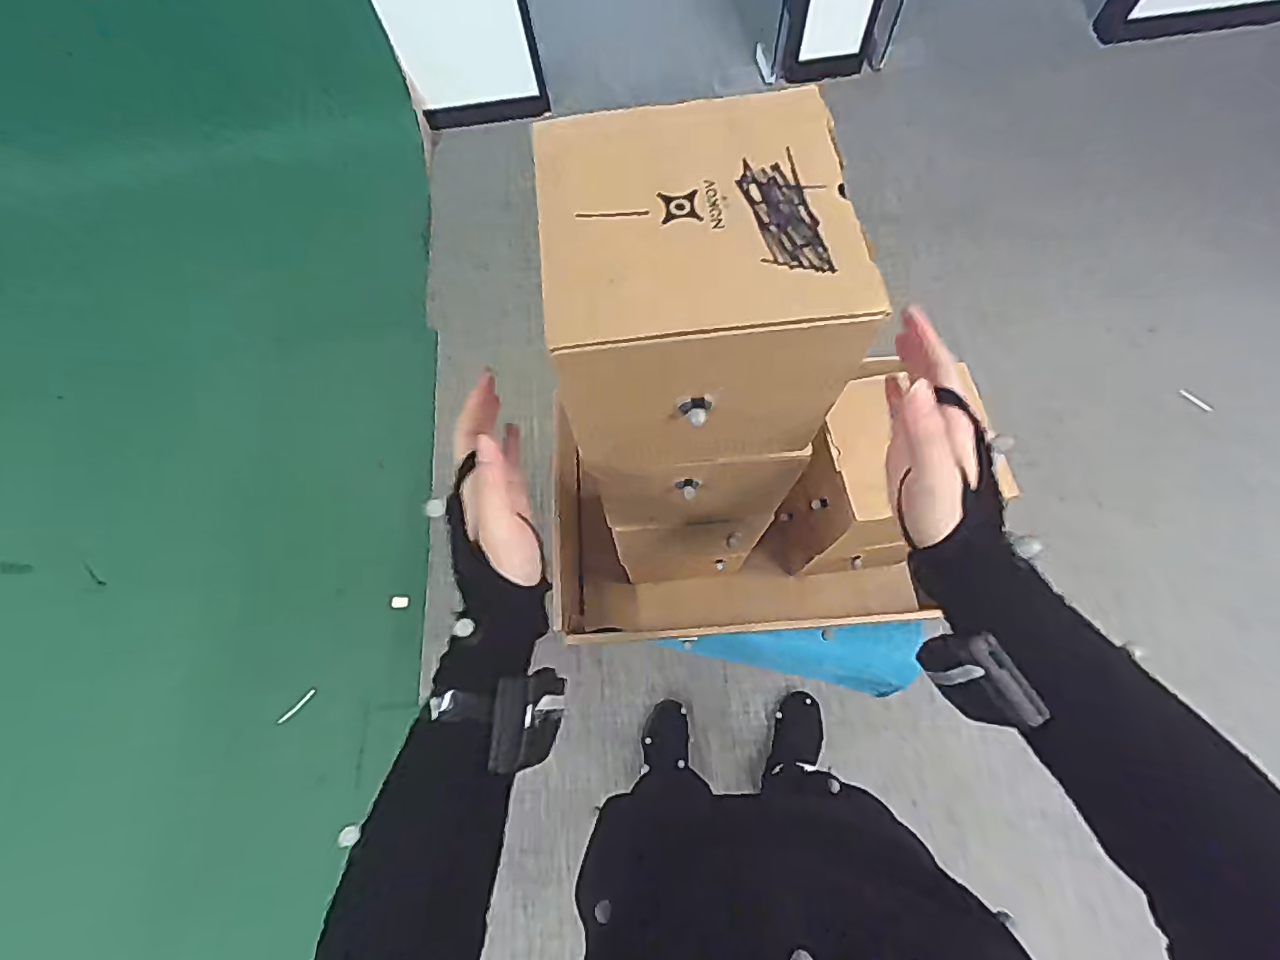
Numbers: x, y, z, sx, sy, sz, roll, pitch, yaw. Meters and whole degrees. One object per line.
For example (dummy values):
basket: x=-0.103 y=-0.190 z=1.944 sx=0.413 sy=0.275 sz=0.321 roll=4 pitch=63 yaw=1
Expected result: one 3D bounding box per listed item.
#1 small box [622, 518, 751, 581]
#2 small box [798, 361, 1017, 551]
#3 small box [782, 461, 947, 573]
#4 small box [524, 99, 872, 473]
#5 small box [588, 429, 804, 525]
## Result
small box: x=0.064 y=0.057 z=0.835 sx=0.179 sy=0.176 sz=0.168 roll=-5 pitch=70 yaw=1
small box: x=0.302 y=-0.018 z=0.662 sx=0.179 sy=0.176 sz=0.168 roll=-10 pitch=70 yaw=2
small box: x=0.319 y=0.038 z=0.815 sx=0.179 sy=0.176 sz=0.168 roll=-10 pitch=70 yaw=4
small box: x=0.028 y=-0.115 z=0.373 sx=0.179 sy=0.176 sz=0.168 roll=-7 pitch=69 yaw=1
small box: x=0.044 y=-0.058 z=0.527 sx=0.179 sy=0.176 sz=0.168 roll=-4 pitch=70 yaw=1
